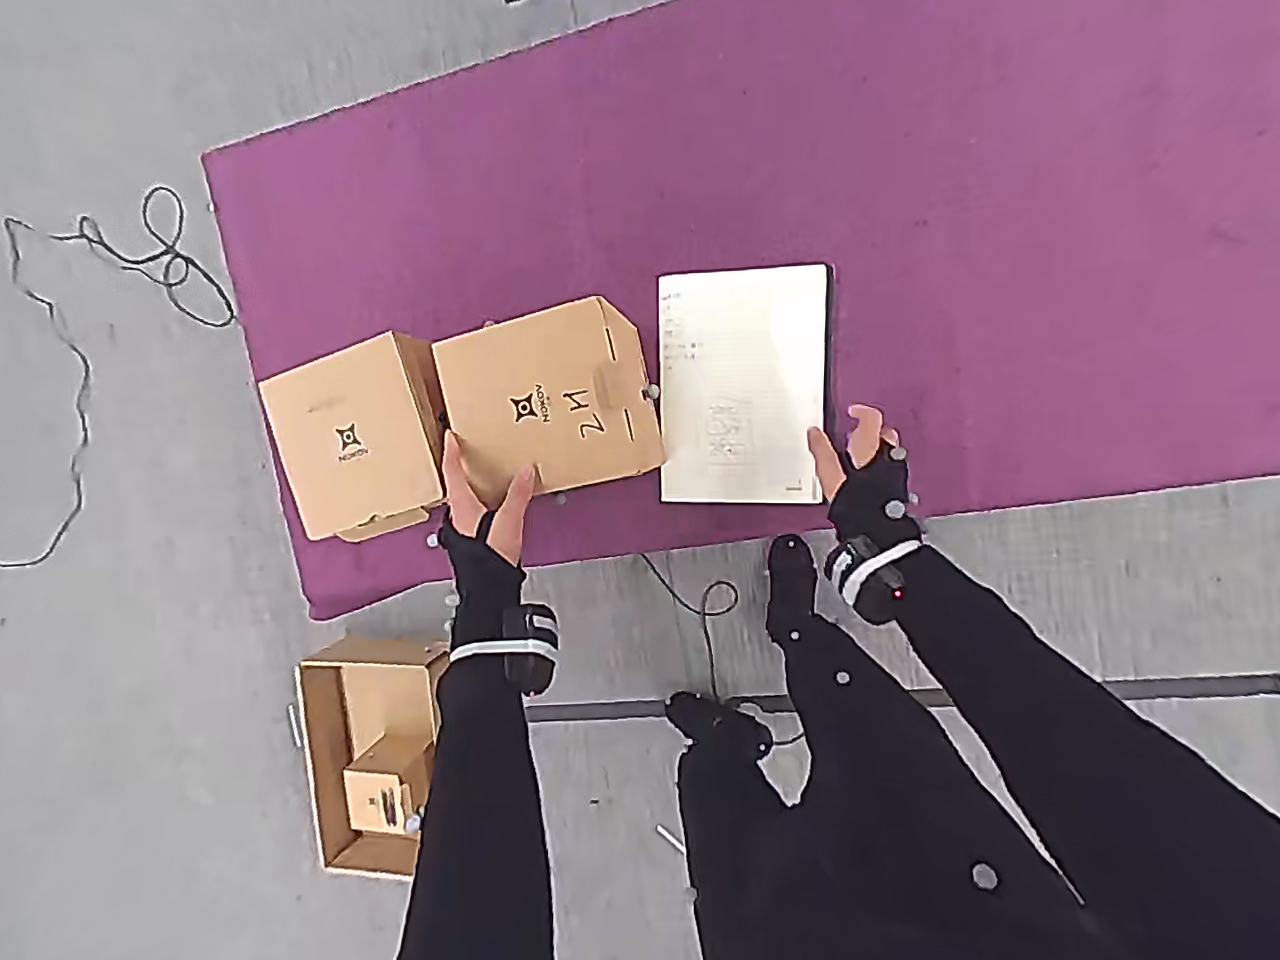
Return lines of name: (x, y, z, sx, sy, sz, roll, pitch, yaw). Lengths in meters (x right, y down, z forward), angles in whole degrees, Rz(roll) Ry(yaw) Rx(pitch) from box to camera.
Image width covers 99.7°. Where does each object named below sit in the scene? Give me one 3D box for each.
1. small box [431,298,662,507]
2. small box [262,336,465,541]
small box: (-0.086, -0.075, 0.582, 0.179, 0.176, 0.168, -12, 93, 11)
small box: (-0.276, -0.048, 0.625, 0.168, 0.176, 0.179, -16, 93, 11)
